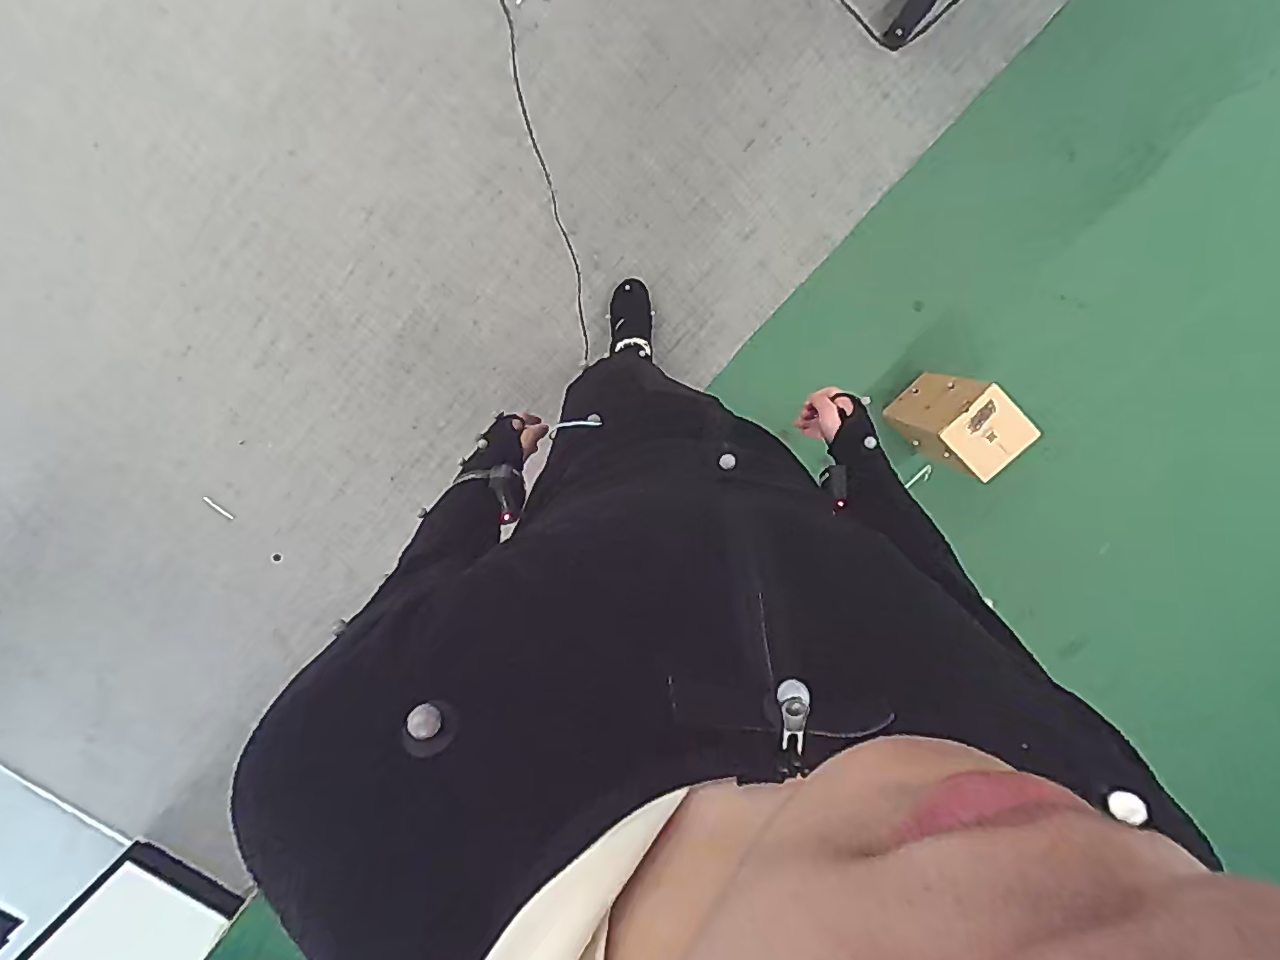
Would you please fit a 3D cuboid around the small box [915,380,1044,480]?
[{"bbox_3d":[0.819,-0.131,1.326,0.179,0.176,0.168,42,103,-9],"label":"small box"}]

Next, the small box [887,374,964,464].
[{"bbox_3d":[0.824,-0.175,1.484,0.179,0.176,0.168,42,103,-9],"label":"small box"}]
